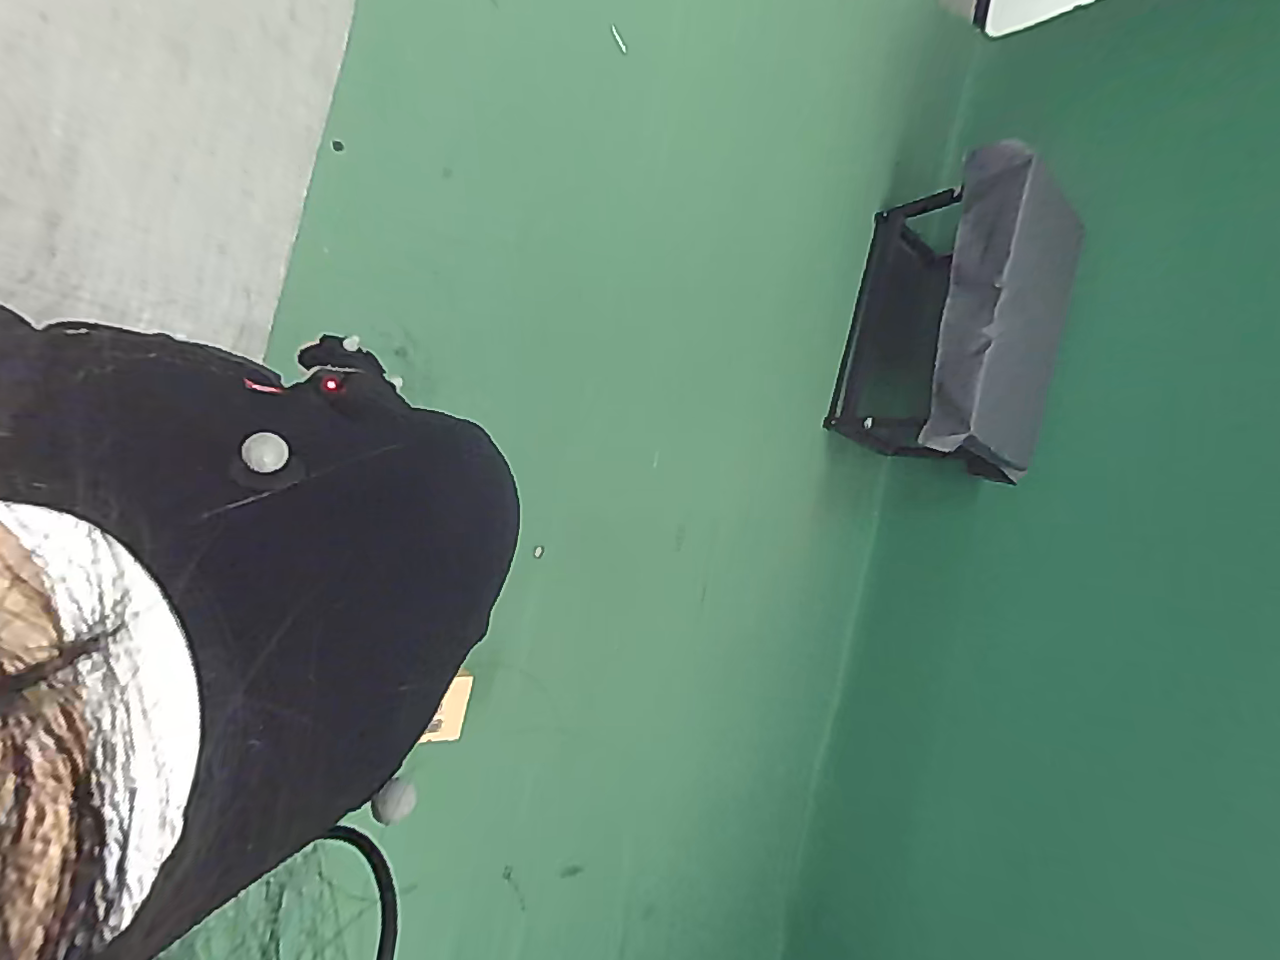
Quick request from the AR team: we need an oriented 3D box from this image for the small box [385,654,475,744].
[{"bbox_3d":[-0.585,0.598,1.495,0.168,0.176,0.179,16,86,-42],"label":"small box"}]
